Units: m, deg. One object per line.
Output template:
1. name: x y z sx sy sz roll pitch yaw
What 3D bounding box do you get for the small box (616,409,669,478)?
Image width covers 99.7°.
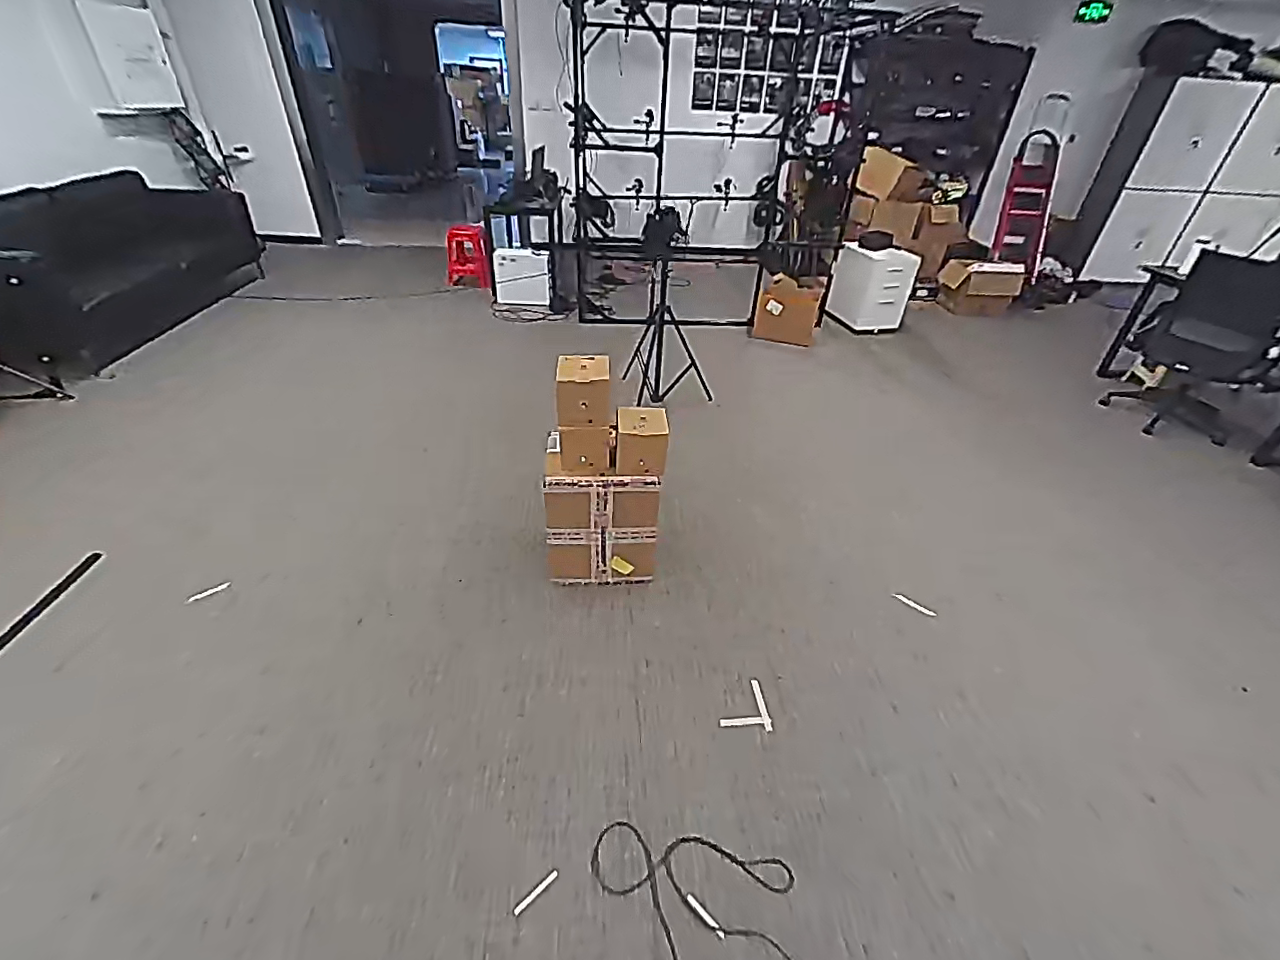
1. small box: 0.003 -0.126 1.850 0.168 0.176 0.179 1 37 -5

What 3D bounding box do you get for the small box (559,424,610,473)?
1. small box: -0.190 -0.143 1.859 0.168 0.176 0.179 -3 39 -5

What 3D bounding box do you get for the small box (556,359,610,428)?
1. small box: -0.183 -0.280 1.769 0.168 0.176 0.179 -1 39 -4
